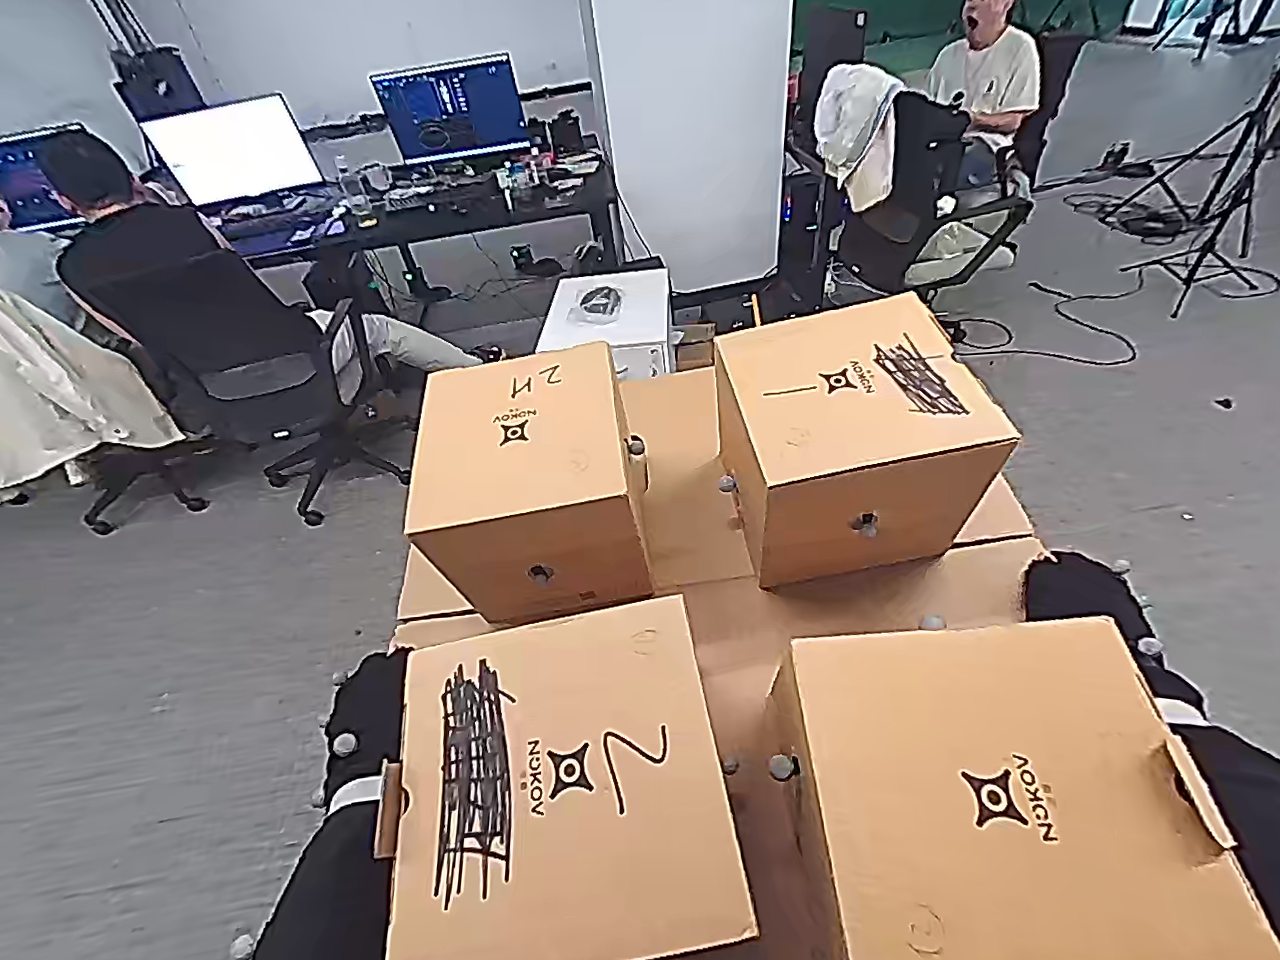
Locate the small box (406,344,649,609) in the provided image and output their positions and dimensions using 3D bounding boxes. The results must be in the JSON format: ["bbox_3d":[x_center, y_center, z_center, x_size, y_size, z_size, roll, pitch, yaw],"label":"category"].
[{"bbox_3d":[-0.088,0.007,0.502,0.168,0.176,0.179,-9,53,3],"label":"small box"}]

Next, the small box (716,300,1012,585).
[{"bbox_3d":[0.170,-0.025,0.478,0.179,0.176,0.168,-11,53,3],"label":"small box"}]
